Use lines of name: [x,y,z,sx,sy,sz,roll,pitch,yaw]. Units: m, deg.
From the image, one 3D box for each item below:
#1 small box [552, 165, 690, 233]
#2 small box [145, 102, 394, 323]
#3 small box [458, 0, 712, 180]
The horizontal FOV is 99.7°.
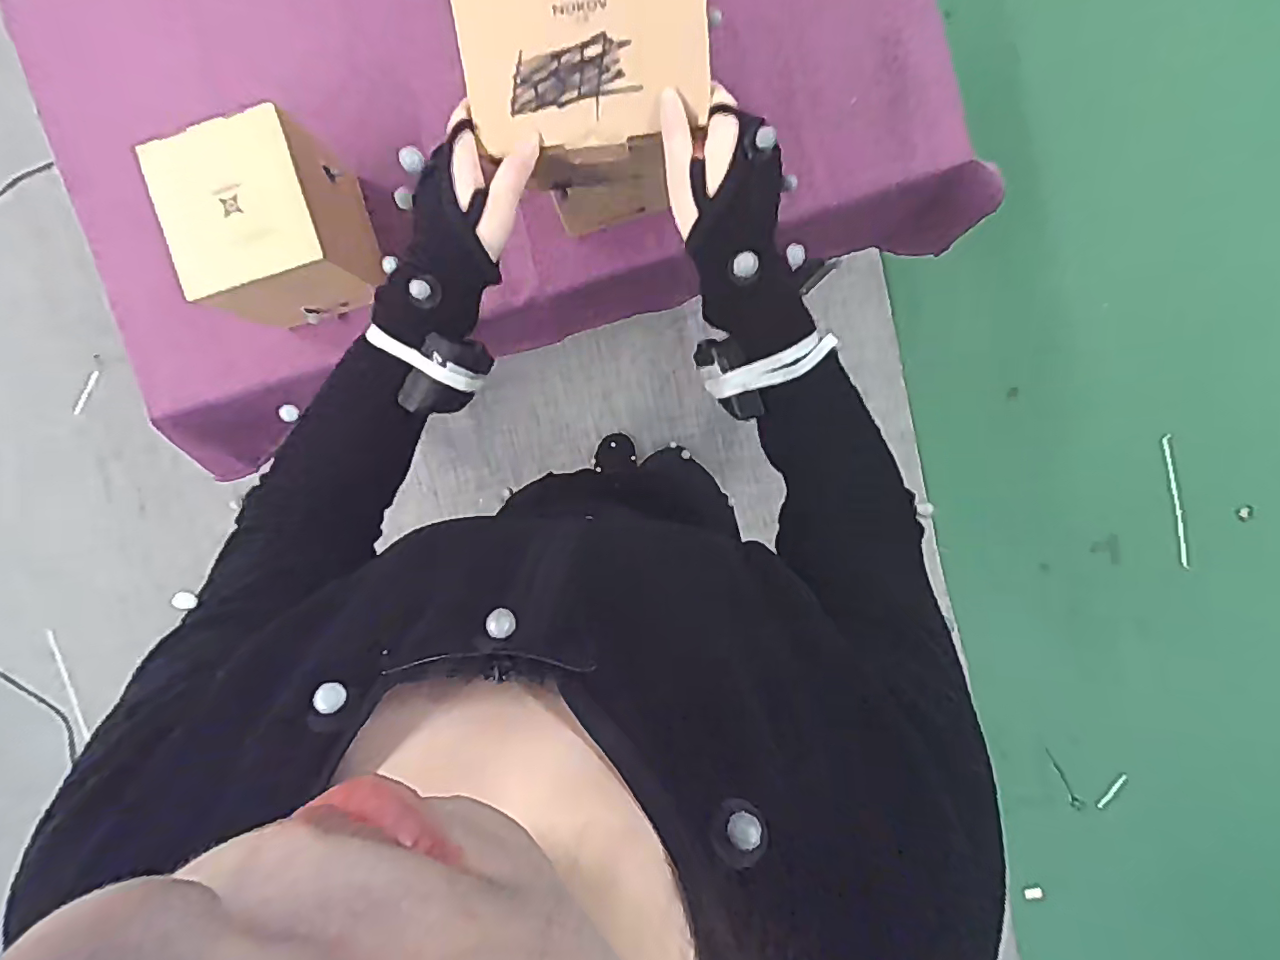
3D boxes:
small box: [-0.040,-0.436,0.657,0.168,0.176,0.179,-16,93,4]
small box: [-0.442,-0.316,0.676,0.168,0.176,0.179,-15,95,3]
small box: [-0.033,-0.346,0.421,0.168,0.176,0.179,-5,109,4]
